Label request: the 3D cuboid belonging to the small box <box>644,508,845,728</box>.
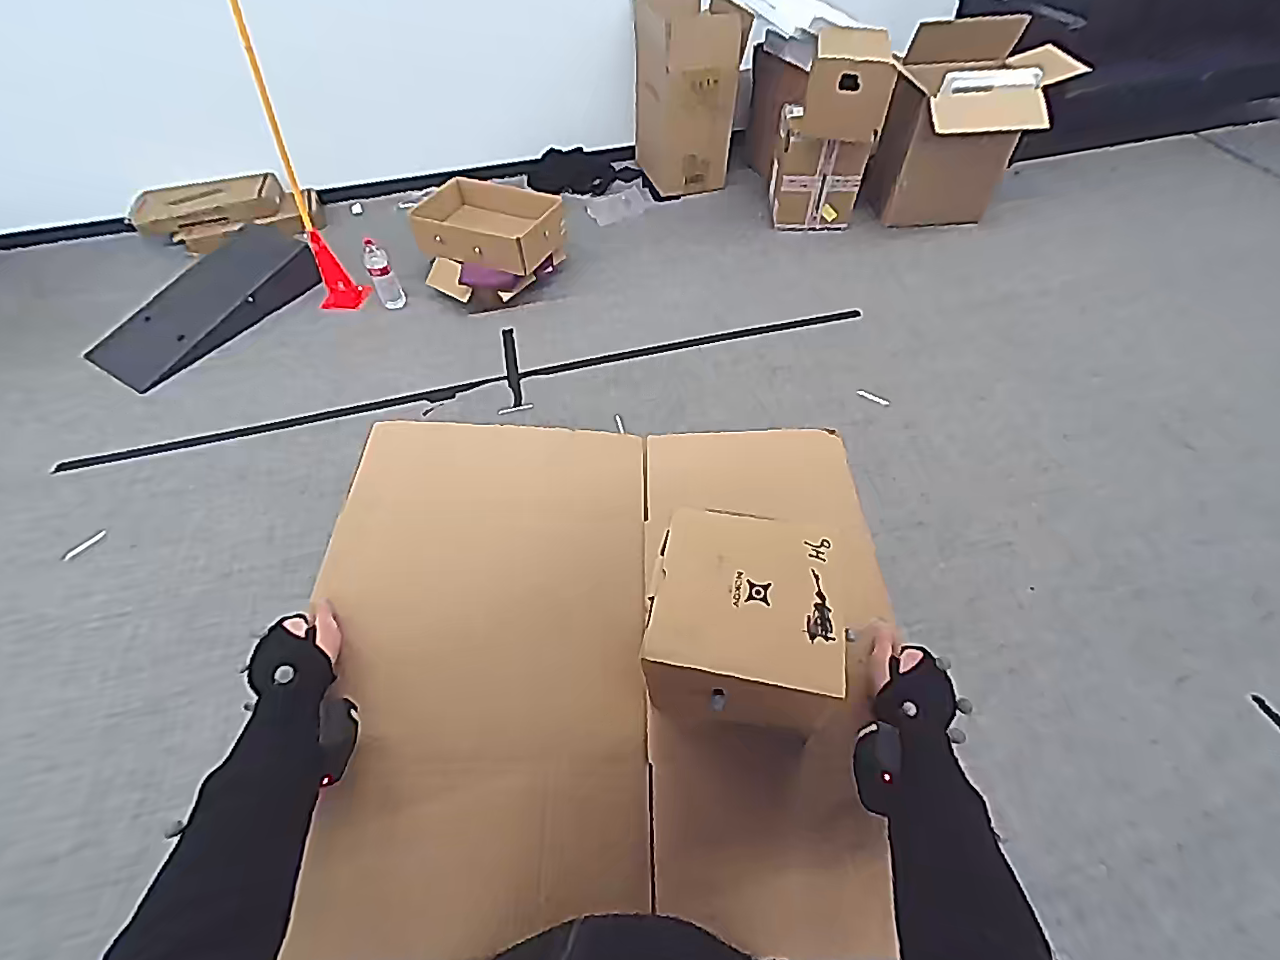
[{"bbox_3d":[0.112,0.151,0.579,0.179,0.176,0.168,7,56,11],"label":"small box"}]
